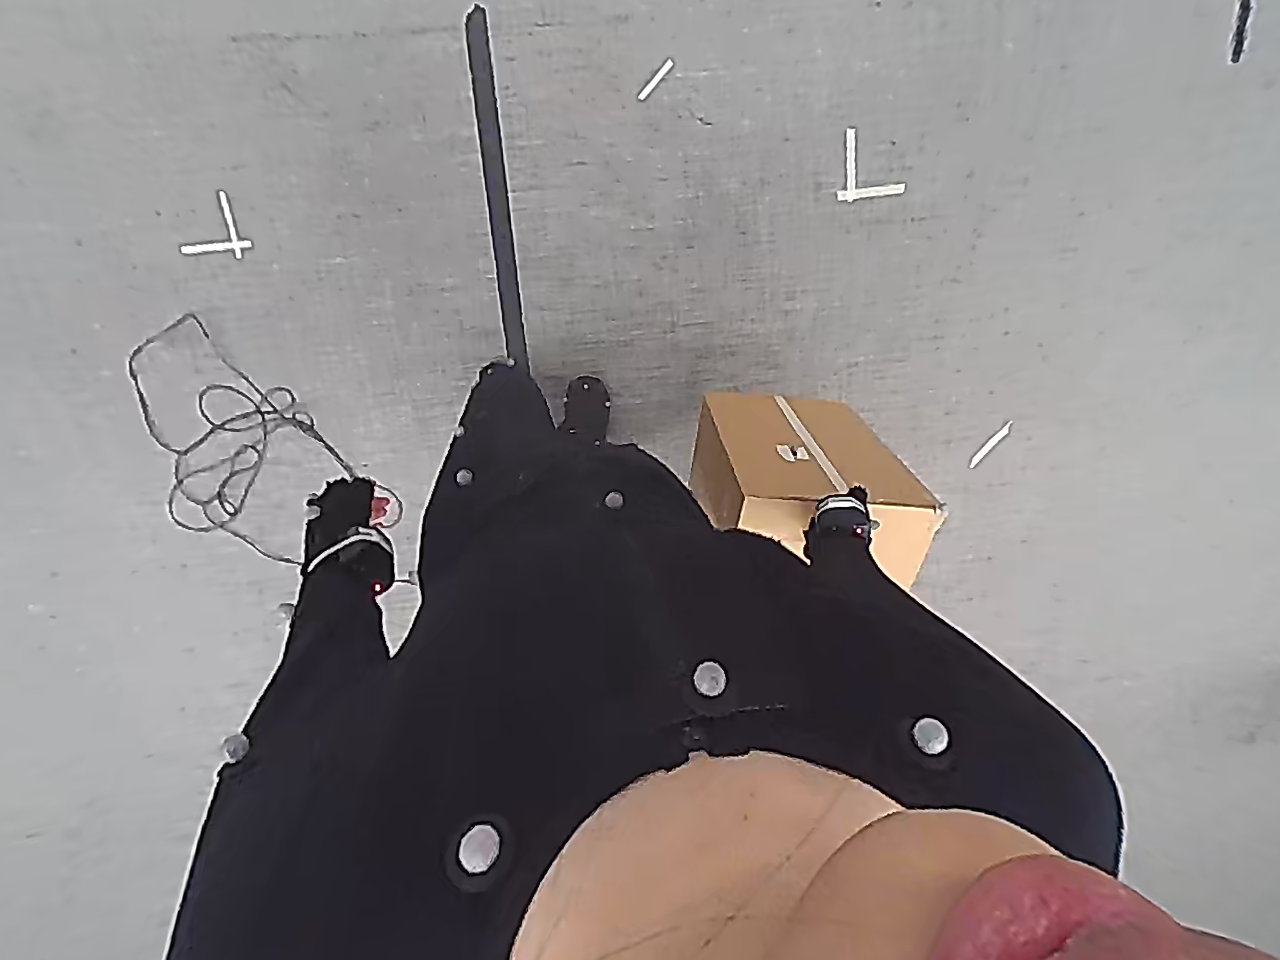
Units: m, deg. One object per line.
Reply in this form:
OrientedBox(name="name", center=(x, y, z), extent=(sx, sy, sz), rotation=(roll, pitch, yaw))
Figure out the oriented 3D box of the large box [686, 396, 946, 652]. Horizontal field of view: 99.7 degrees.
OrientedBox(name="large box", center=(0.287, 0.069, 1.049), extent=(0.320, 0.408, 0.320), rotation=(4, 121, -5))
